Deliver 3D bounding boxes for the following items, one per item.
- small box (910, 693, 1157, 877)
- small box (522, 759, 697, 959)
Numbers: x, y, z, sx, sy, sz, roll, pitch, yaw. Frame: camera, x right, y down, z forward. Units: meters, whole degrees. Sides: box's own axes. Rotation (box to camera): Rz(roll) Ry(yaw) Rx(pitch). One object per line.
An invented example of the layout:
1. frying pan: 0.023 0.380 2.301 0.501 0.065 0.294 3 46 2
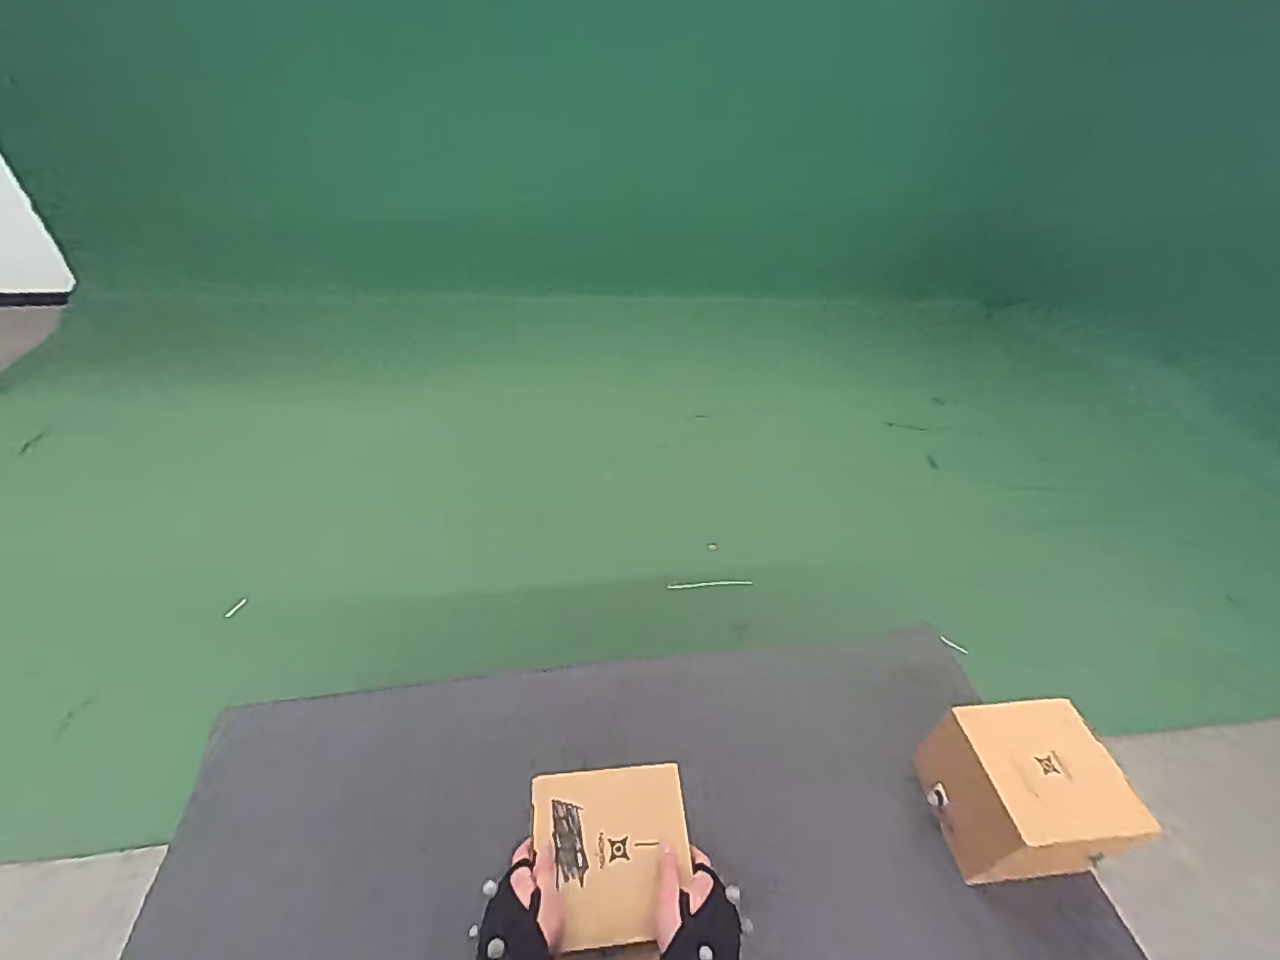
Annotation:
1. small box: 0.505 0.411 0.729 0.179 0.176 0.168 -3 41 -5
2. small box: -0.039 0.454 0.641 0.179 0.176 0.168 -1 43 -6
